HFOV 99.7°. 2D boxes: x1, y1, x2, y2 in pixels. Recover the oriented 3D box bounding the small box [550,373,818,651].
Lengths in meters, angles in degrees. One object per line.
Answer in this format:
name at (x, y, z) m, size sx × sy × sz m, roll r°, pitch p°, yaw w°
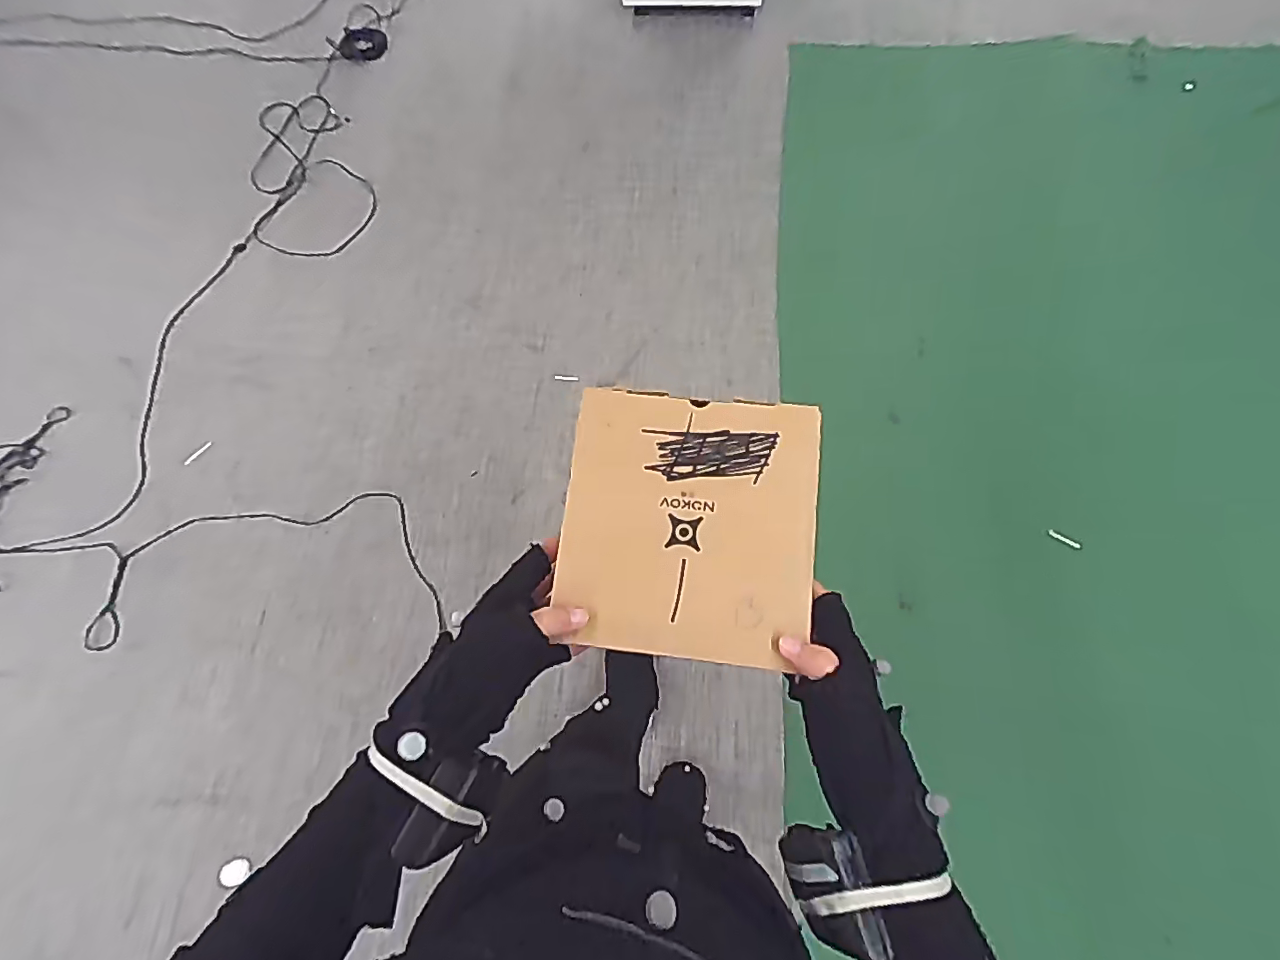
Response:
small box at (0.038, 0.034, 0.438) m, size 0.168 × 0.176 × 0.179 m, roll 6°, pitch 76°, yaw 6°
